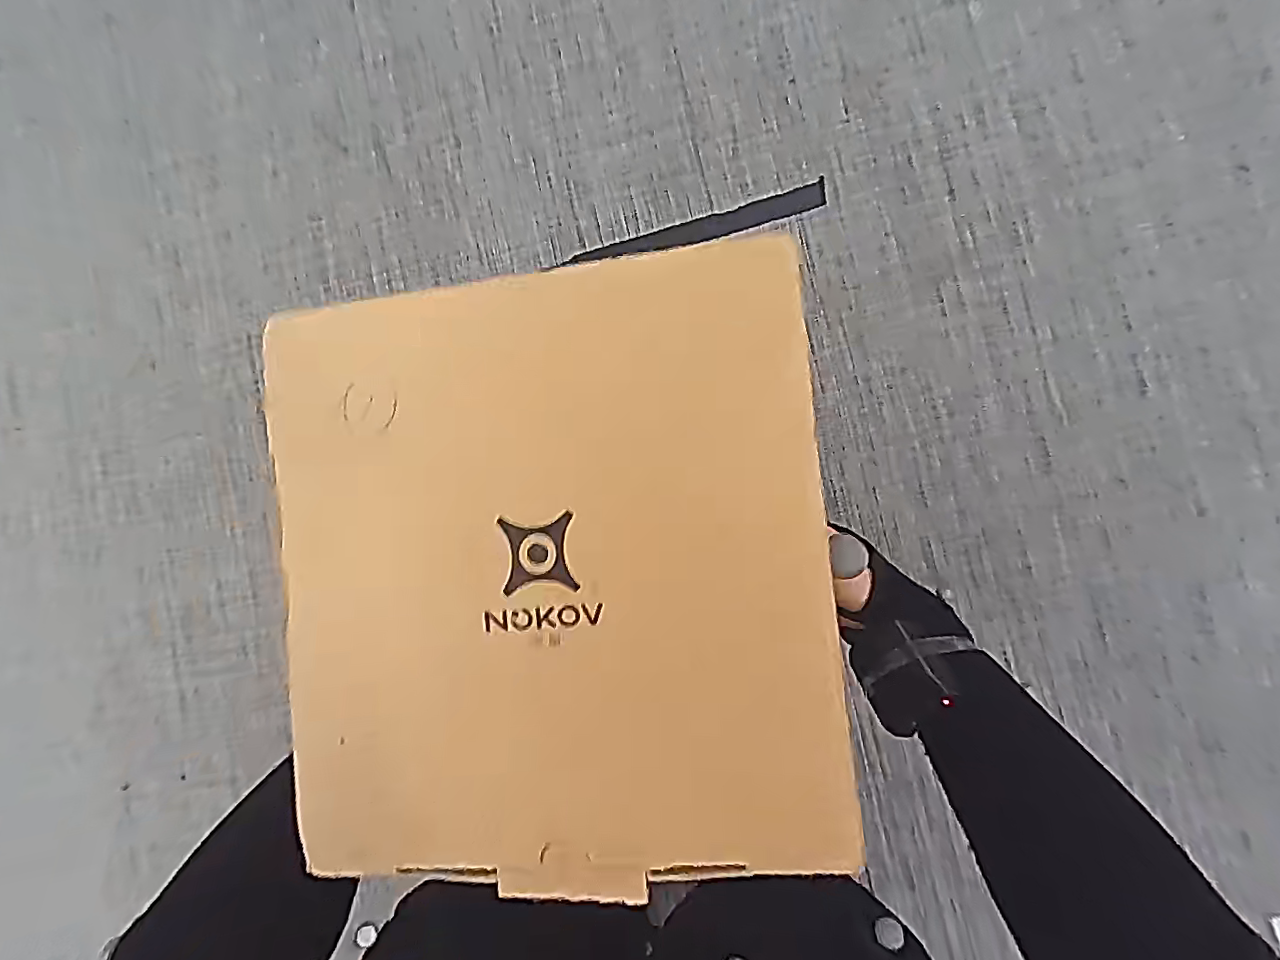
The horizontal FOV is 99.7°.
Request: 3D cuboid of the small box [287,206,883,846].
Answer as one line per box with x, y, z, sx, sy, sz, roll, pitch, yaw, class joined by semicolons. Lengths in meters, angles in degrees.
-0.013;0.019;0.236;0.168;0.176;0.179;-6;88;7;small box
